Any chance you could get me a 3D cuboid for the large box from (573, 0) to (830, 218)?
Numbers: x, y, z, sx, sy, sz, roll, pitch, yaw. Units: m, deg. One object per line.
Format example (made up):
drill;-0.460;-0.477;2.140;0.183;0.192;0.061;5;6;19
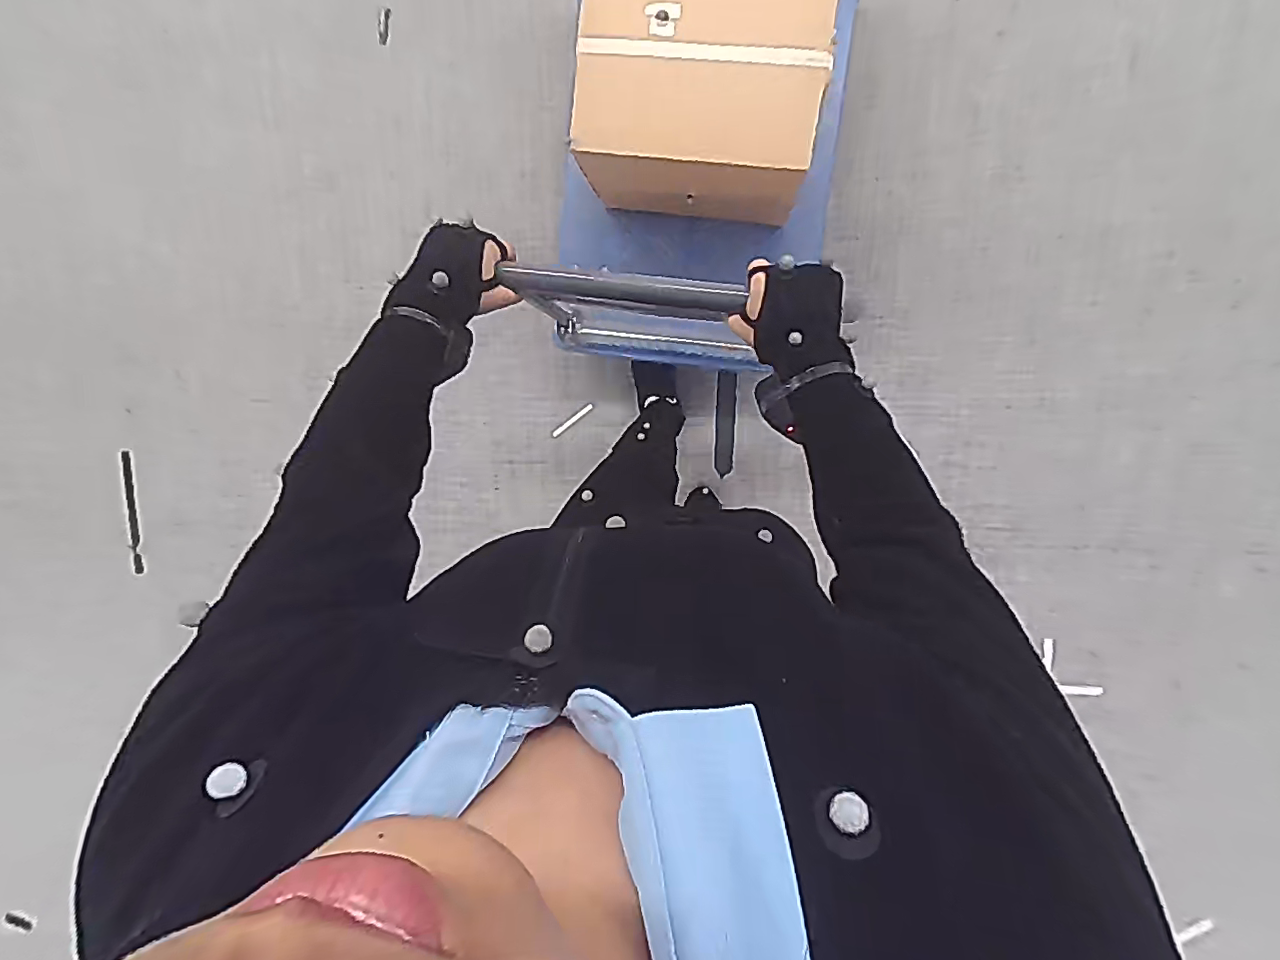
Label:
large box;0.118;-0.718;1.035;0.408;0.320;0.320;9;100;7
